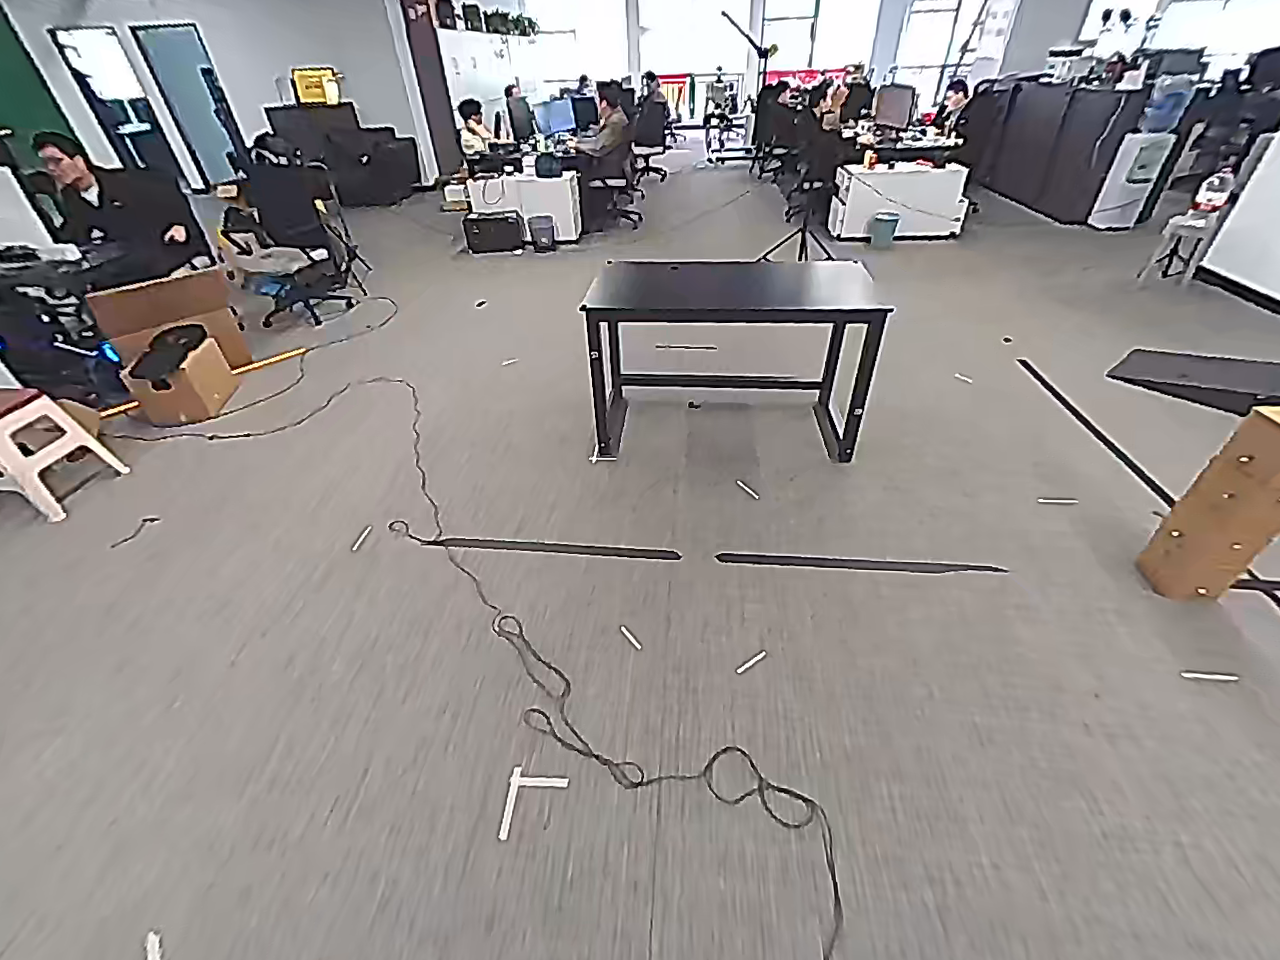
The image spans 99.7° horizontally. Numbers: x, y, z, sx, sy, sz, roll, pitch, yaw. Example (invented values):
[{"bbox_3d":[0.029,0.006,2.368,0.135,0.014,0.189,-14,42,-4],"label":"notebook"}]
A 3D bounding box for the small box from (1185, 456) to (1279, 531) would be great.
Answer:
[{"bbox_3d":[1.847,0.042,1.660,0.179,0.176,0.168,2,40,5],"label":"small box"}]

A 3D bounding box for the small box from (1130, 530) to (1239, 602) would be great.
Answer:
[{"bbox_3d":[1.864,0.295,1.866,0.168,0.176,0.179,1,39,6],"label":"small box"}]

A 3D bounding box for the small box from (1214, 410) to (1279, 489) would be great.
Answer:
[{"bbox_3d":[1.844,-0.085,1.556,0.168,0.176,0.179,1,40,5],"label":"small box"}]

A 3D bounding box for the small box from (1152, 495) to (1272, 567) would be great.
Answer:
[{"bbox_3d":[1.852,0.168,1.763,0.179,0.176,0.168,1,38,6],"label":"small box"}]
